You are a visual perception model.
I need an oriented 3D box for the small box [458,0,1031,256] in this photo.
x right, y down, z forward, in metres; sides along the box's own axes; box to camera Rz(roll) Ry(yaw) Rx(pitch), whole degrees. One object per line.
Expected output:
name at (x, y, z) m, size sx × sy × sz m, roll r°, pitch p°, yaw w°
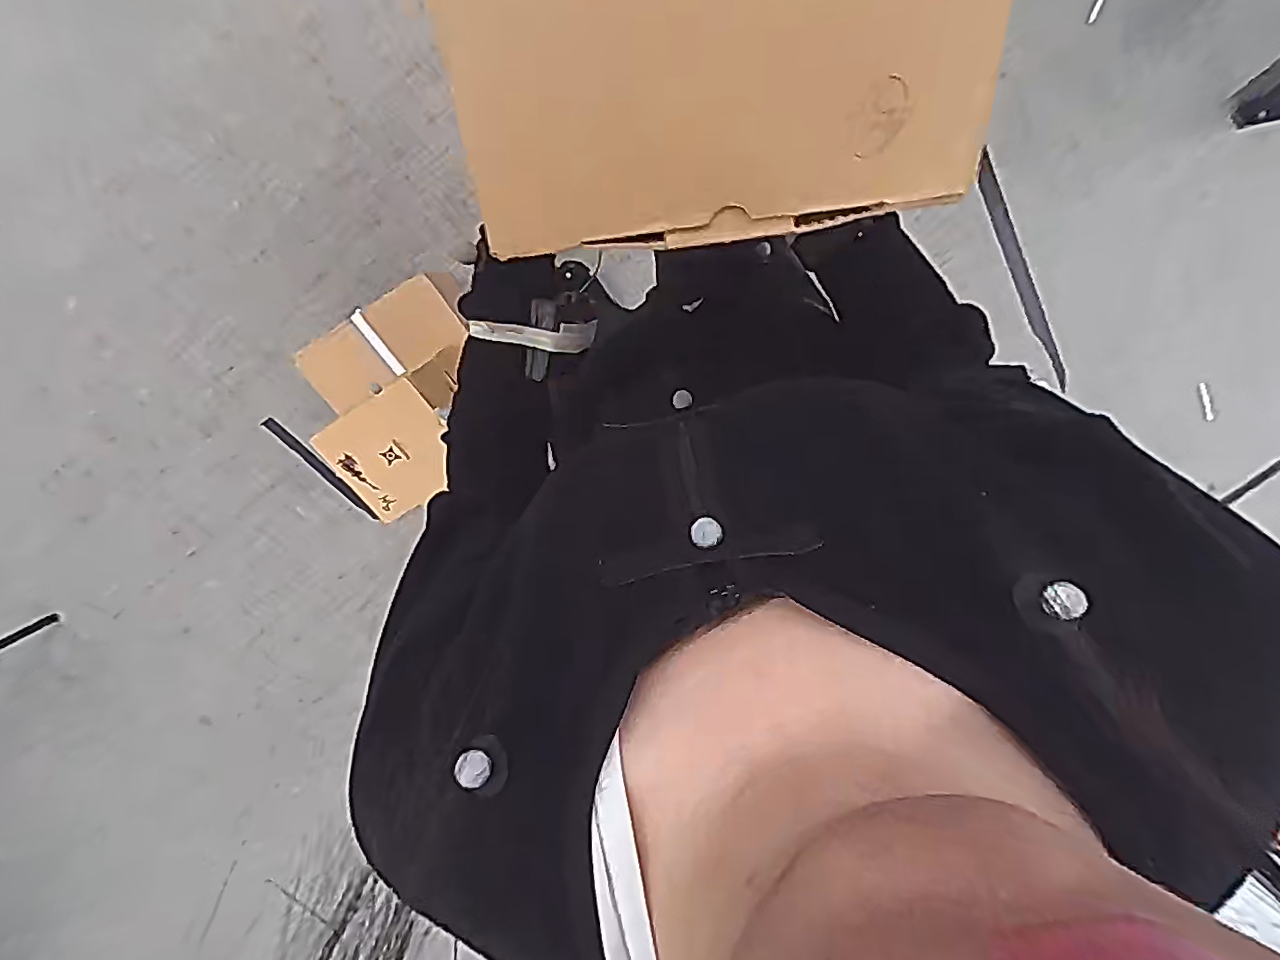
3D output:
small box at (0.025, -0.202, 0.207) m, size 0.168 × 0.176 × 0.179 m, roll -7°, pitch 122°, yaw 1°

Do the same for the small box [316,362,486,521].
small box at (-0.365, -0.072, 0.869) m, size 0.179 × 0.176 × 0.168 m, roll -33°, pitch 112°, yaw 3°
